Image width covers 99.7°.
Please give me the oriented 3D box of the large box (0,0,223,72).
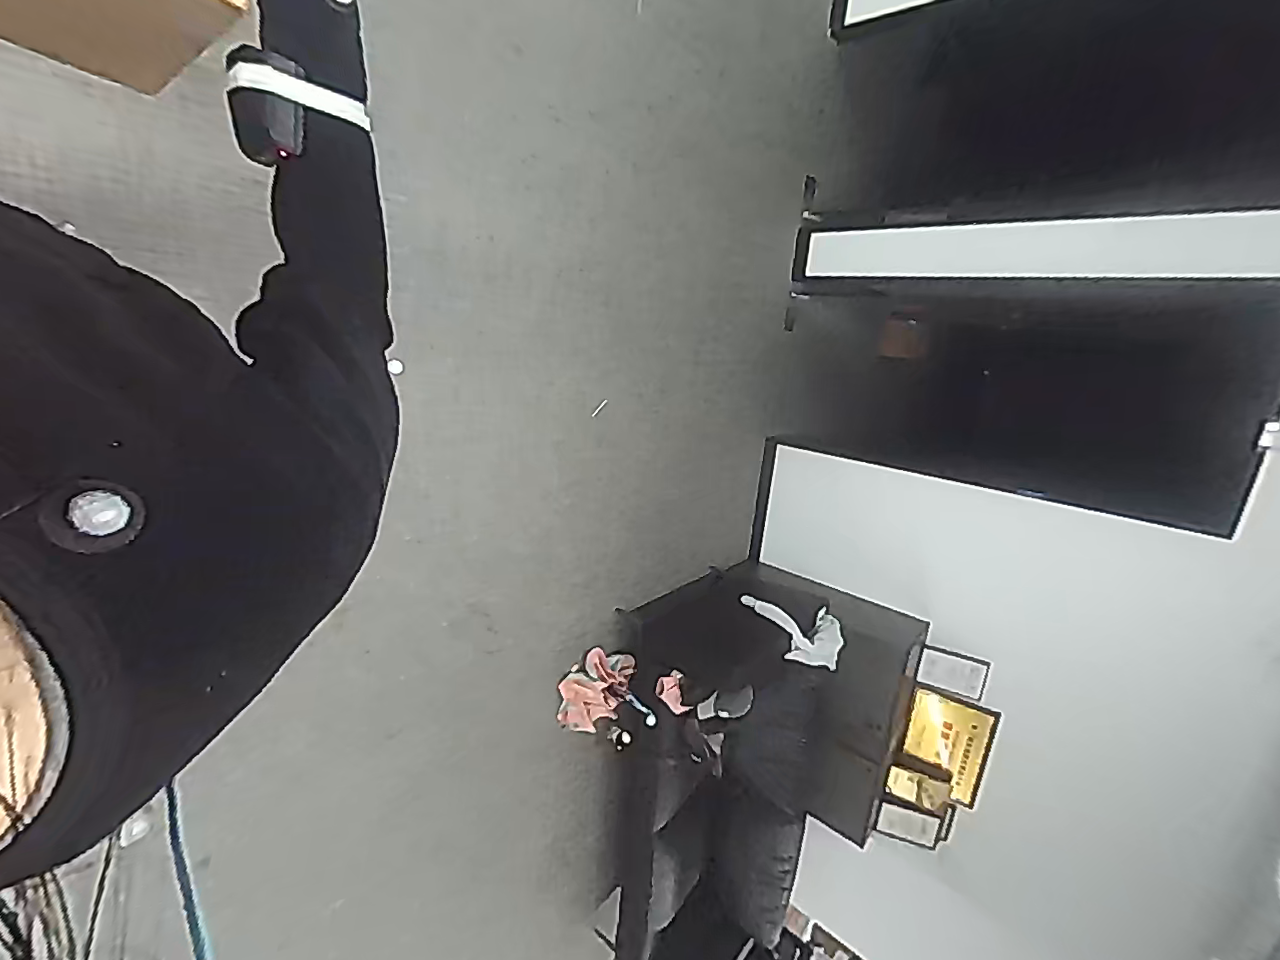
[{"bbox_3d":[-0.478,-0.489,0.263,0.408,0.320,0.320,-3,108,-49],"label":"large box"}]
